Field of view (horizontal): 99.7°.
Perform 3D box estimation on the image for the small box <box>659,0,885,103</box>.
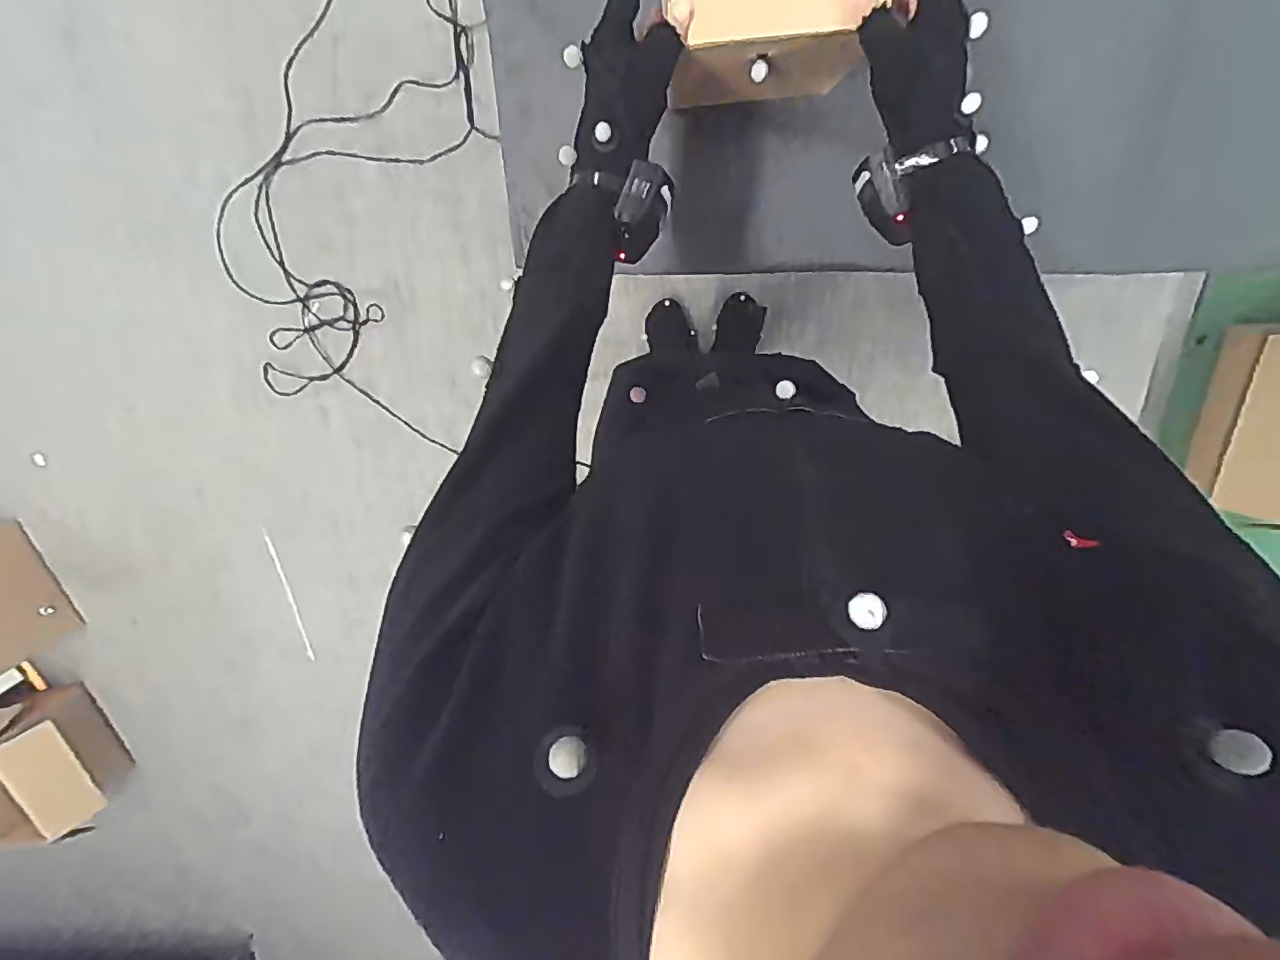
[{"bbox_3d":[0.104,-0.456,0.475,0.179,0.176,0.168,-2,111,5],"label":"small box"}]
